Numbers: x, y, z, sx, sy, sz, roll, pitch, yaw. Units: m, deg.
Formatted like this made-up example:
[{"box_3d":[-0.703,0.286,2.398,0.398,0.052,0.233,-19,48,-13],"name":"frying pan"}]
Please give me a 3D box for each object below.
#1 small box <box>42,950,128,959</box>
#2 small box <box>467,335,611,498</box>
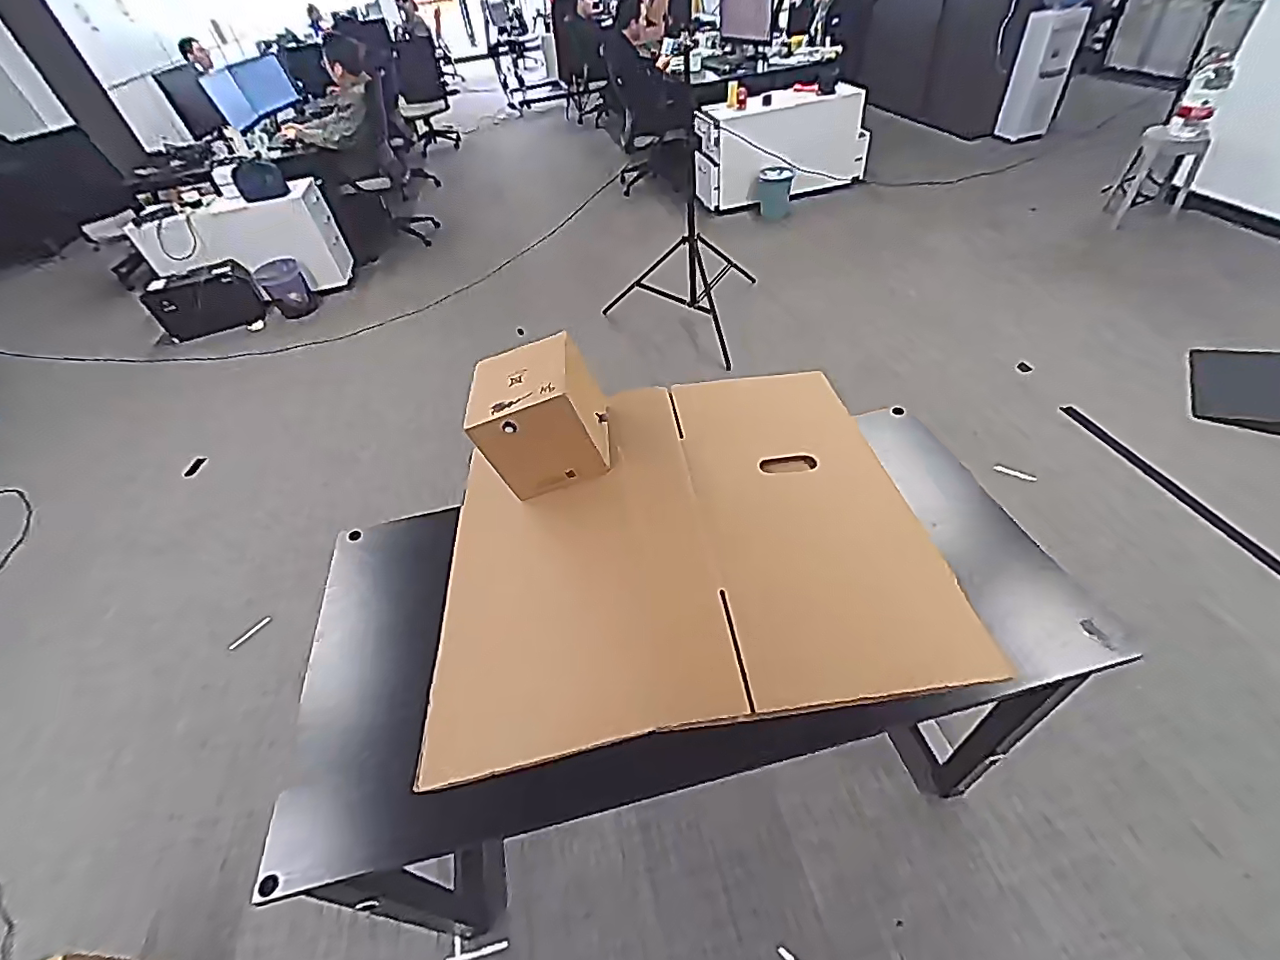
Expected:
[{"box_3d":[-1.077,0.990,0.968,0.168,0.176,0.179,-17,44,-10],"name":"small box"},{"box_3d":[-0.155,-0.100,0.885,0.168,0.176,0.179,-18,43,11],"name":"small box"}]
